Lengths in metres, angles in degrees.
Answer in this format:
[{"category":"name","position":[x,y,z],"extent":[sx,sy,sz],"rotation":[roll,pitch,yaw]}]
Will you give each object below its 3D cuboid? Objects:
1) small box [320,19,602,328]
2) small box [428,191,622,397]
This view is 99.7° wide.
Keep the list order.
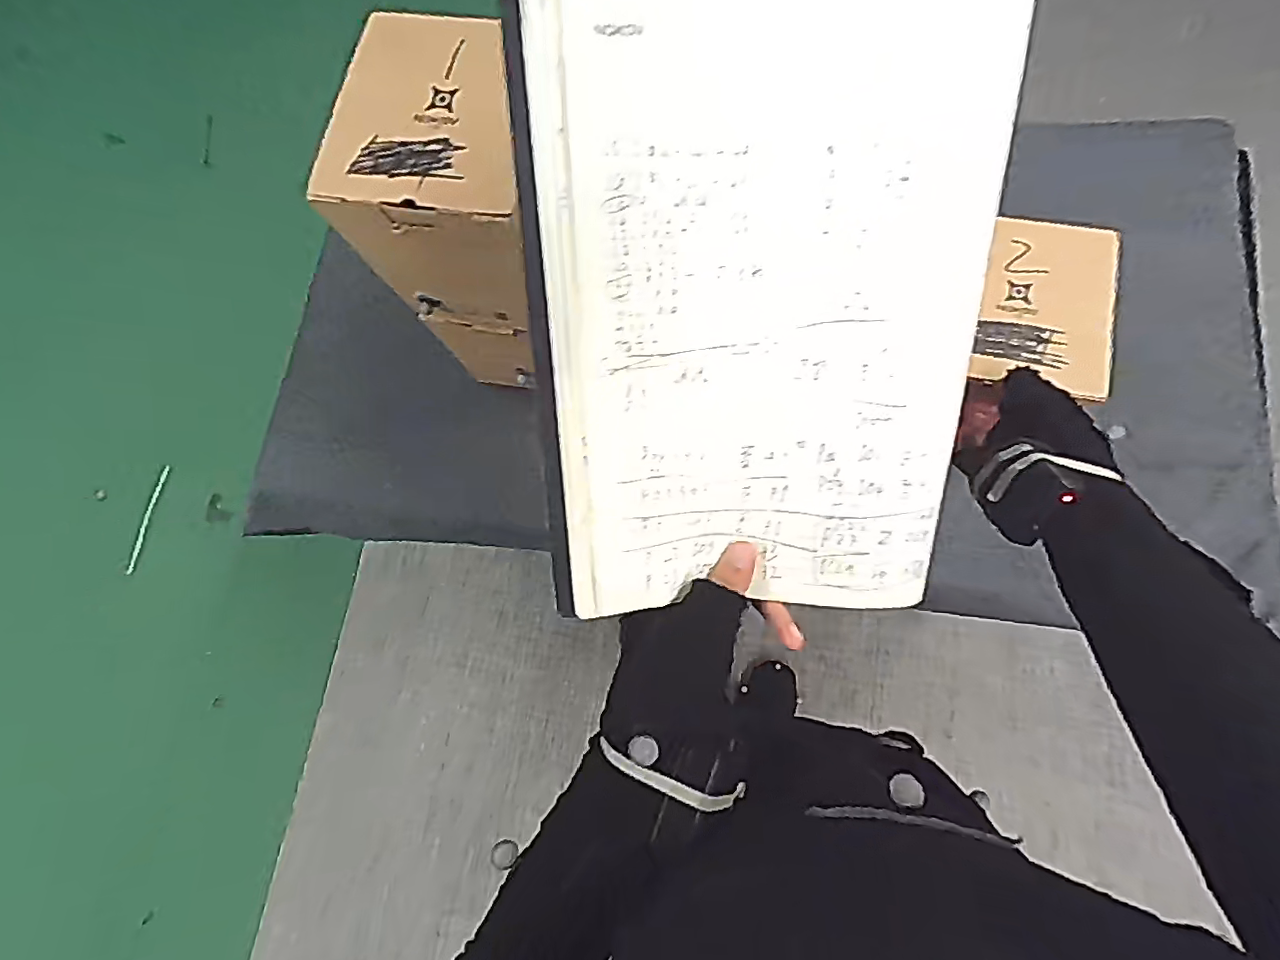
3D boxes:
[{"category":"small box","position":[-0.138,-0.260,0.489],"extent":[0.168,0.176,0.179],"rotation":[10,77,7]},{"category":"small box","position":[-0.120,-0.220,0.647],"extent":[0.168,0.176,0.179],"rotation":[9,78,8]}]
